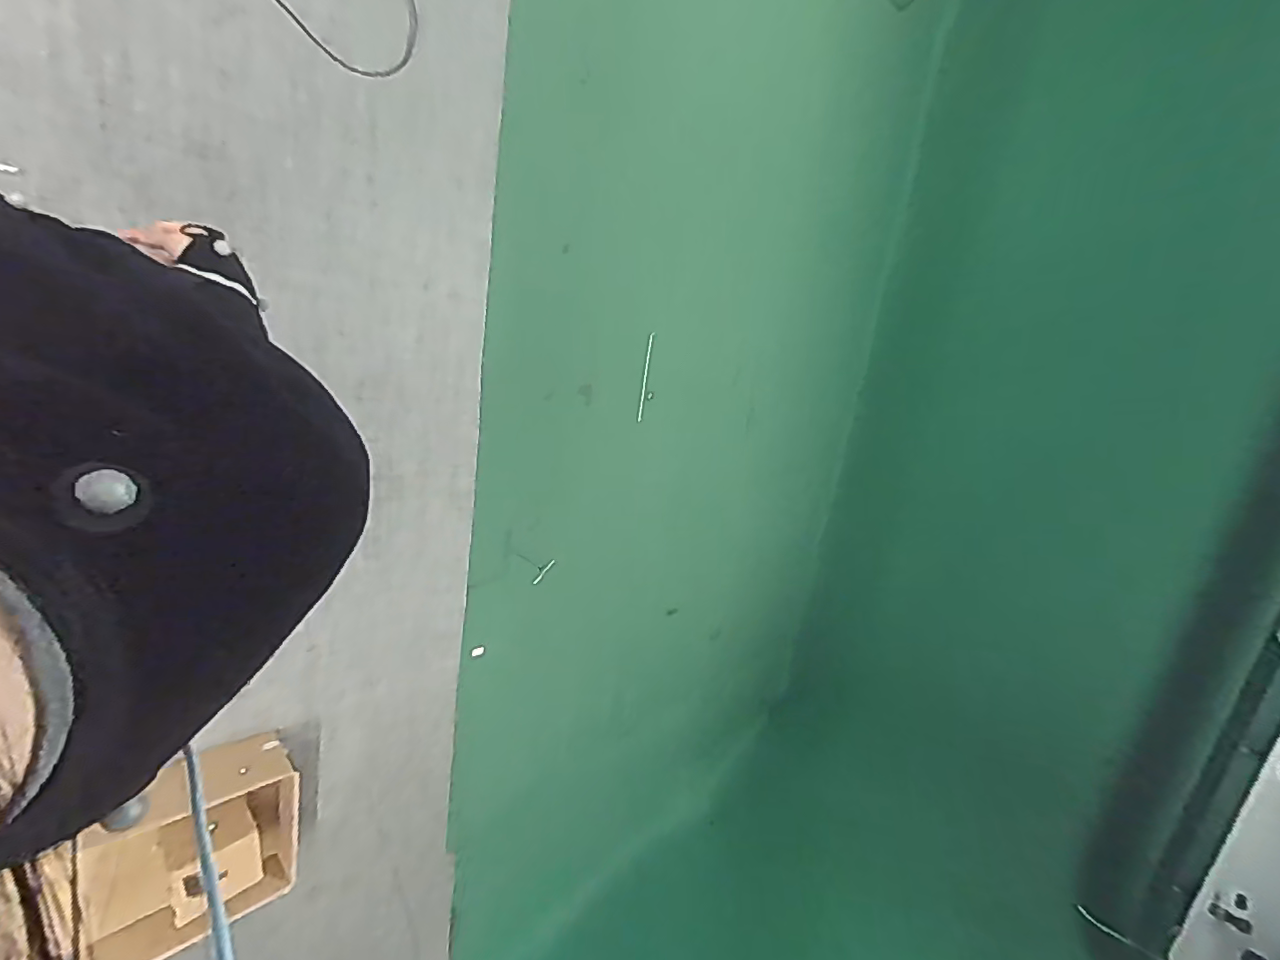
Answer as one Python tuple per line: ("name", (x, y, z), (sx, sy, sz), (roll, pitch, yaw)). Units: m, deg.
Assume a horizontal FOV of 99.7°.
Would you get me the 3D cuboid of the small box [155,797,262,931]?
("small box", (-1.083, 0.949, 1.354), (0.179, 0.176, 0.168), (-12, 114, -50))
